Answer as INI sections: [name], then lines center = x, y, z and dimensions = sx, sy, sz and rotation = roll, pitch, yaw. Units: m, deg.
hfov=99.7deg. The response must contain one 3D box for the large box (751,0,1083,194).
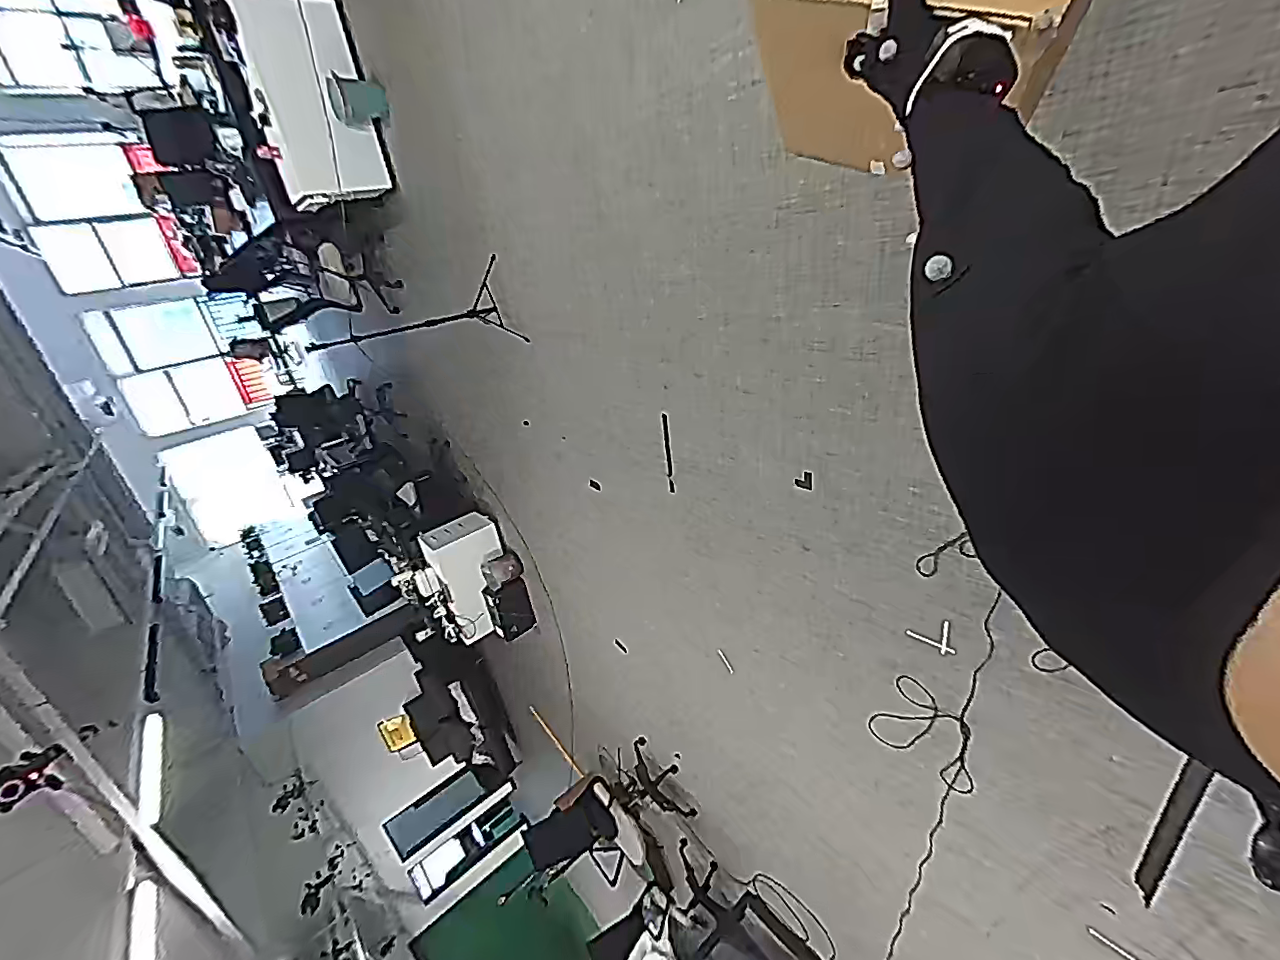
[large box]
center = 0.385, -0.649, 0.657
dimensions = 0.320, 0.320, 0.408
rotation = 28, 101, 23
